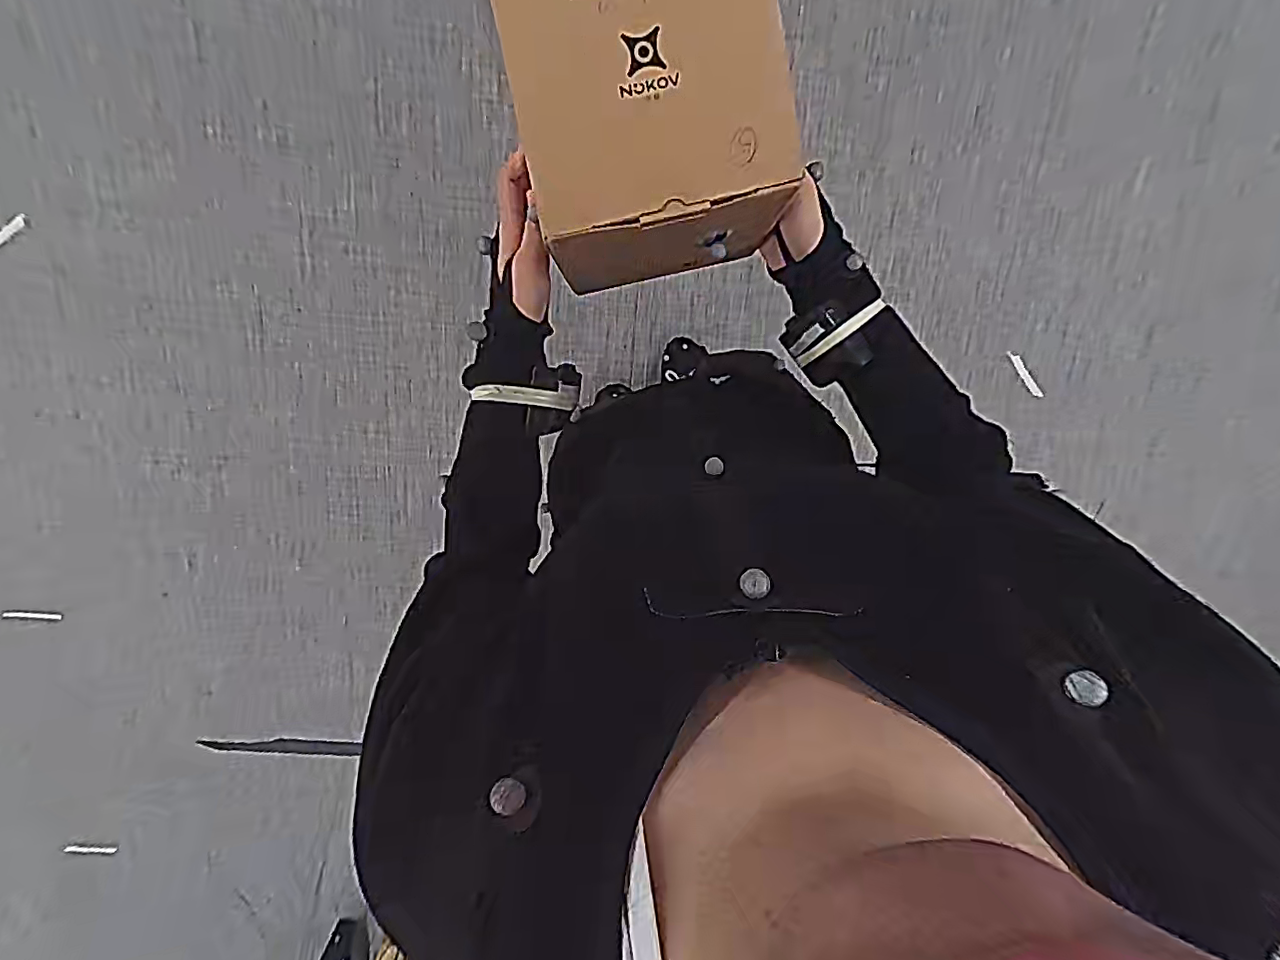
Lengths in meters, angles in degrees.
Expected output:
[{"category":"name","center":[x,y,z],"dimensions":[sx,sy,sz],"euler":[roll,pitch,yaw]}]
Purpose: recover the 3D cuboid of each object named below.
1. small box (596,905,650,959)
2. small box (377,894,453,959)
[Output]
[{"category":"small box","center":[-0.058,1.552,1.779],"dimensions":[0.168,0.176,0.179],"euler":[5,104,-4]},{"category":"small box","center":[-0.726,1.481,1.733],"dimensions":[0.179,0.176,0.168],"euler":[20,101,-8]}]
